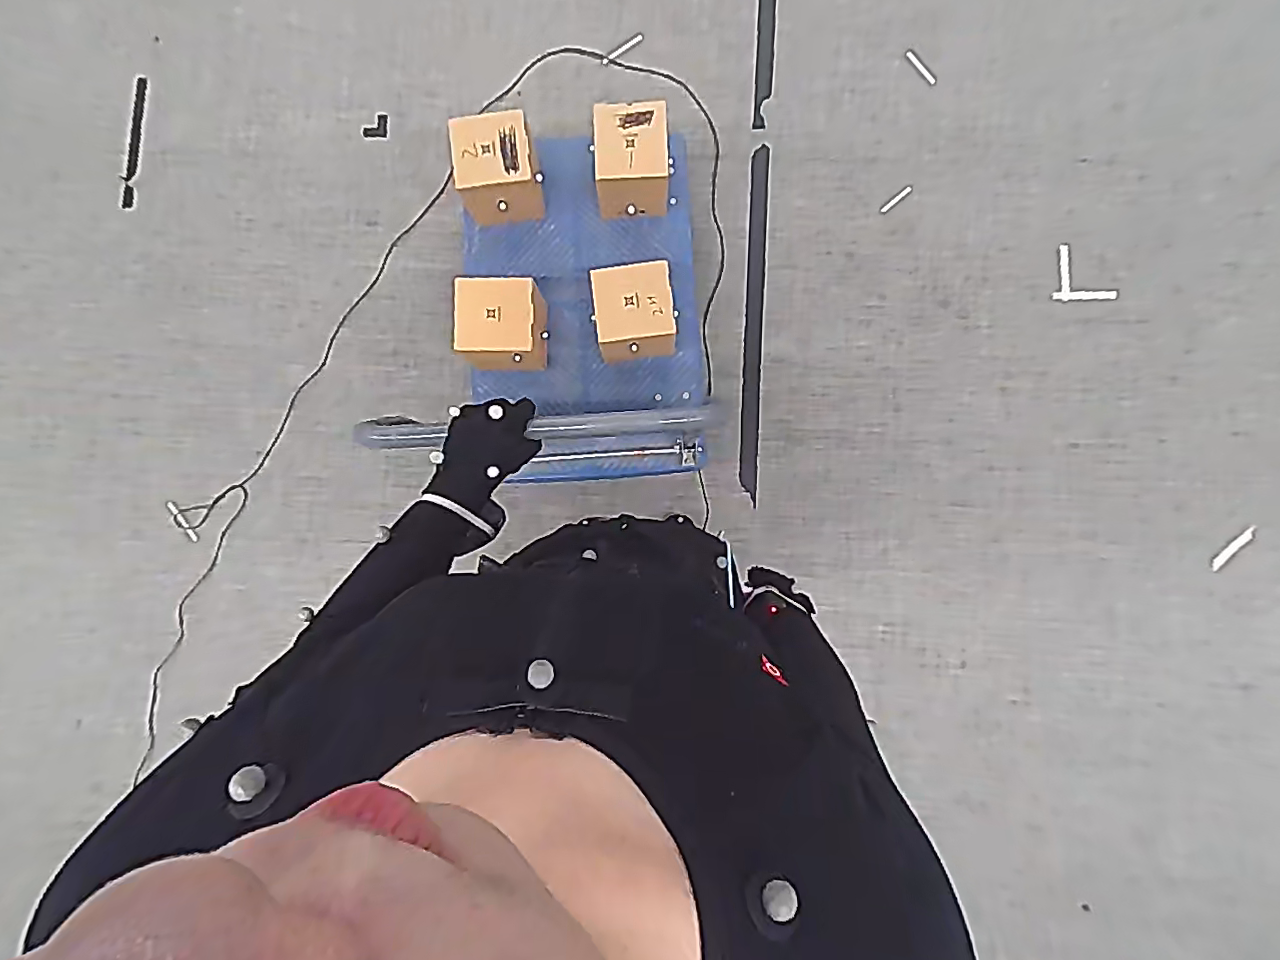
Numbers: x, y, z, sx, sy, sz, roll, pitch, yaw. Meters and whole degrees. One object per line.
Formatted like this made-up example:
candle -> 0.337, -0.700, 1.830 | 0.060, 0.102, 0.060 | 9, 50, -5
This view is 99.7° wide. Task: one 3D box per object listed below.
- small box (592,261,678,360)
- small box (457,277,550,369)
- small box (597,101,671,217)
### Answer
small box -> -0.007, -0.388, 1.264 | 0.179, 0.176, 0.168 | -7, 87, 1
small box -> -0.315, -0.362, 1.272 | 0.179, 0.176, 0.168 | -1, 87, 0
small box -> -0.013, -0.753, 1.281 | 0.168, 0.176, 0.179 | -2, 89, 1
